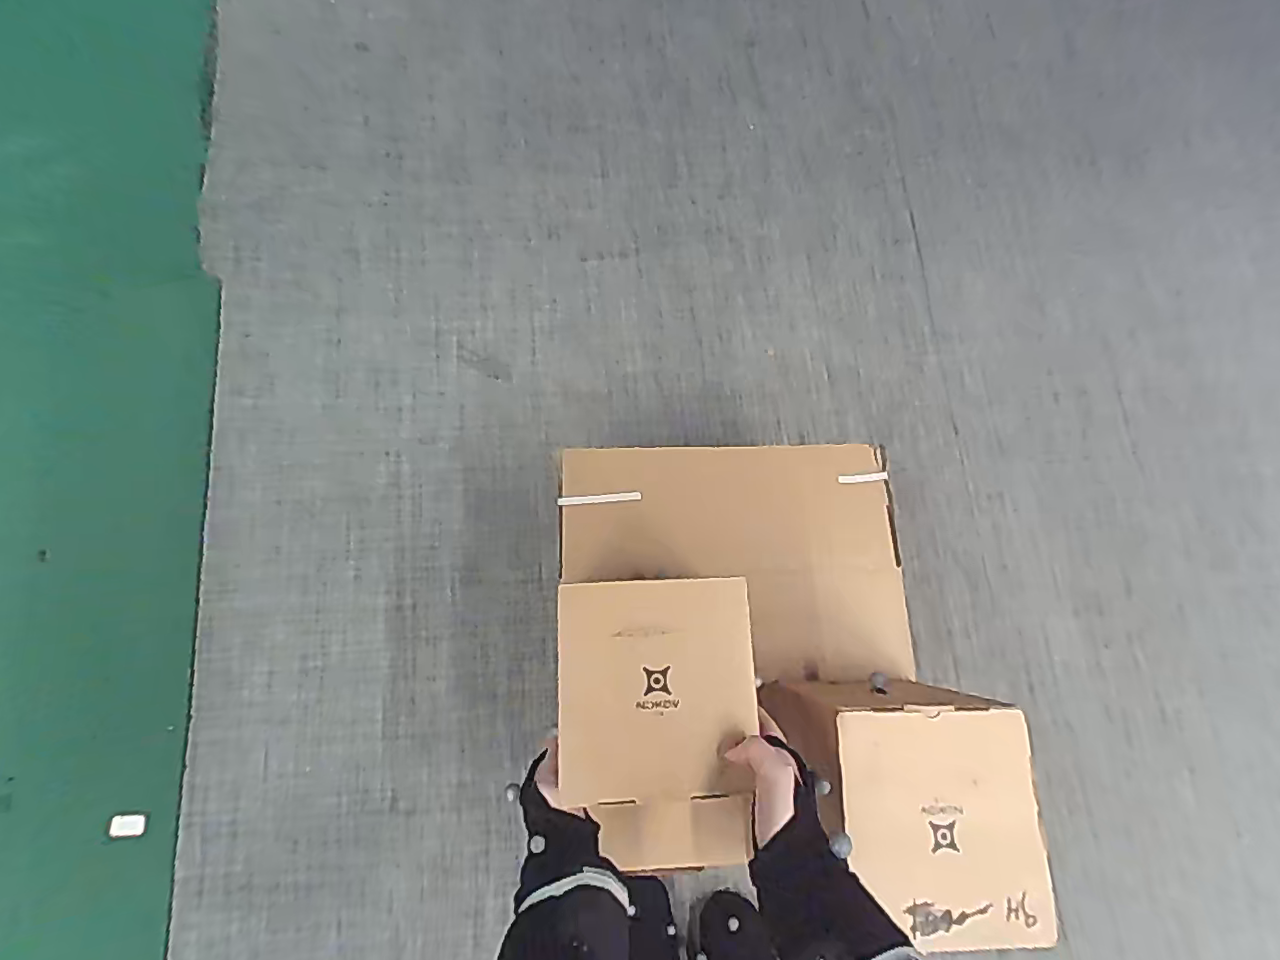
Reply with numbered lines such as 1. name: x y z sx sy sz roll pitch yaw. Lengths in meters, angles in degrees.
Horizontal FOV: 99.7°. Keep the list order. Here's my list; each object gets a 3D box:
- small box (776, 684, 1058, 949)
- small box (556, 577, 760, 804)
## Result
1. small box: 0.234 0.289 0.508 0.168 0.176 0.179 1 75 -3
2. small box: 0.011 0.189 0.525 0.168 0.176 0.179 -1 75 -3
